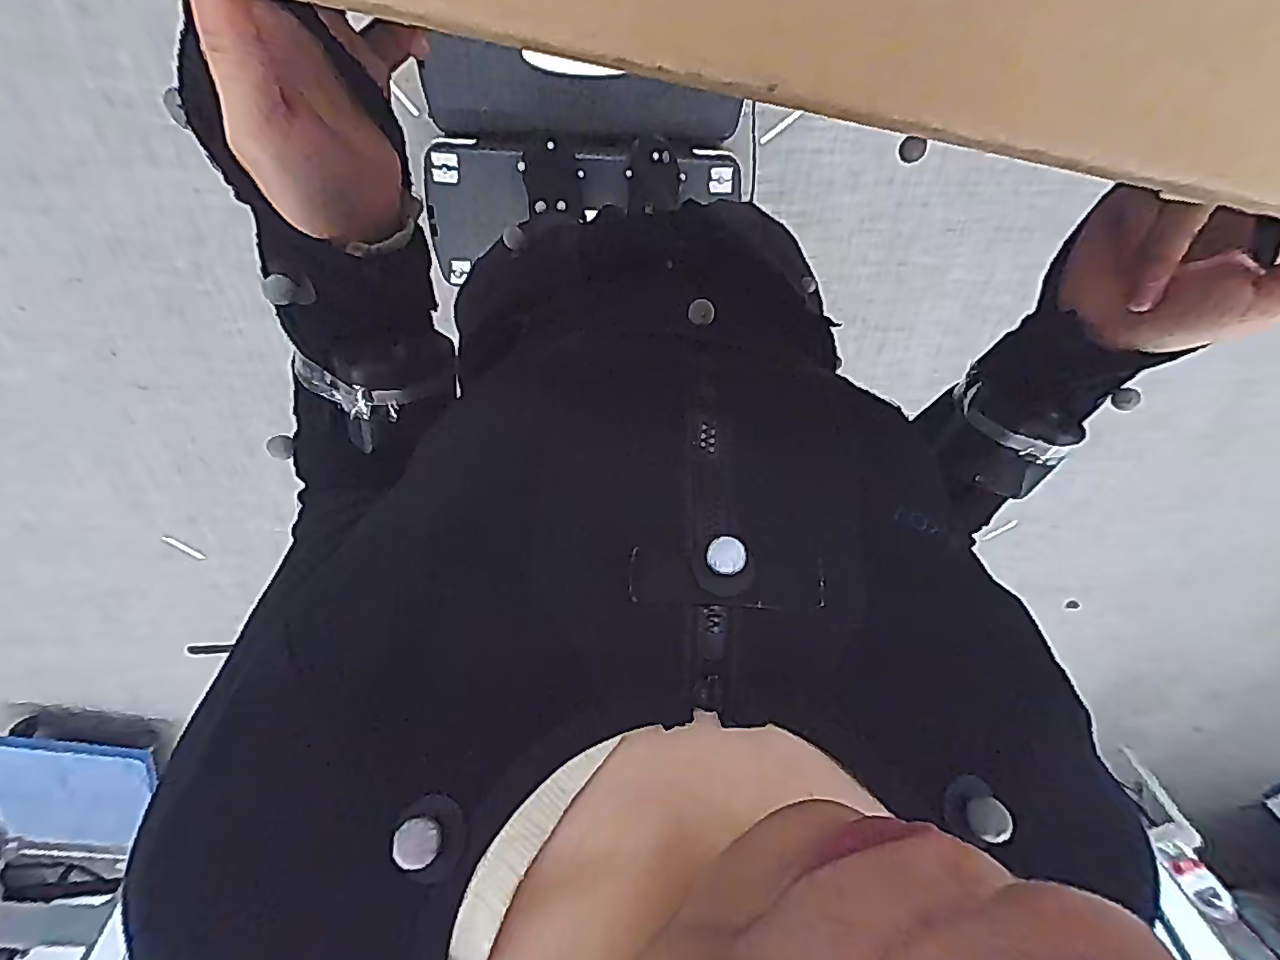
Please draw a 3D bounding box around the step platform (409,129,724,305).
[{"bbox_3d":[-0.155,-0.588,1.232,0.684,0.204,0.286,4,125,-7],"label":"step platform"}]
